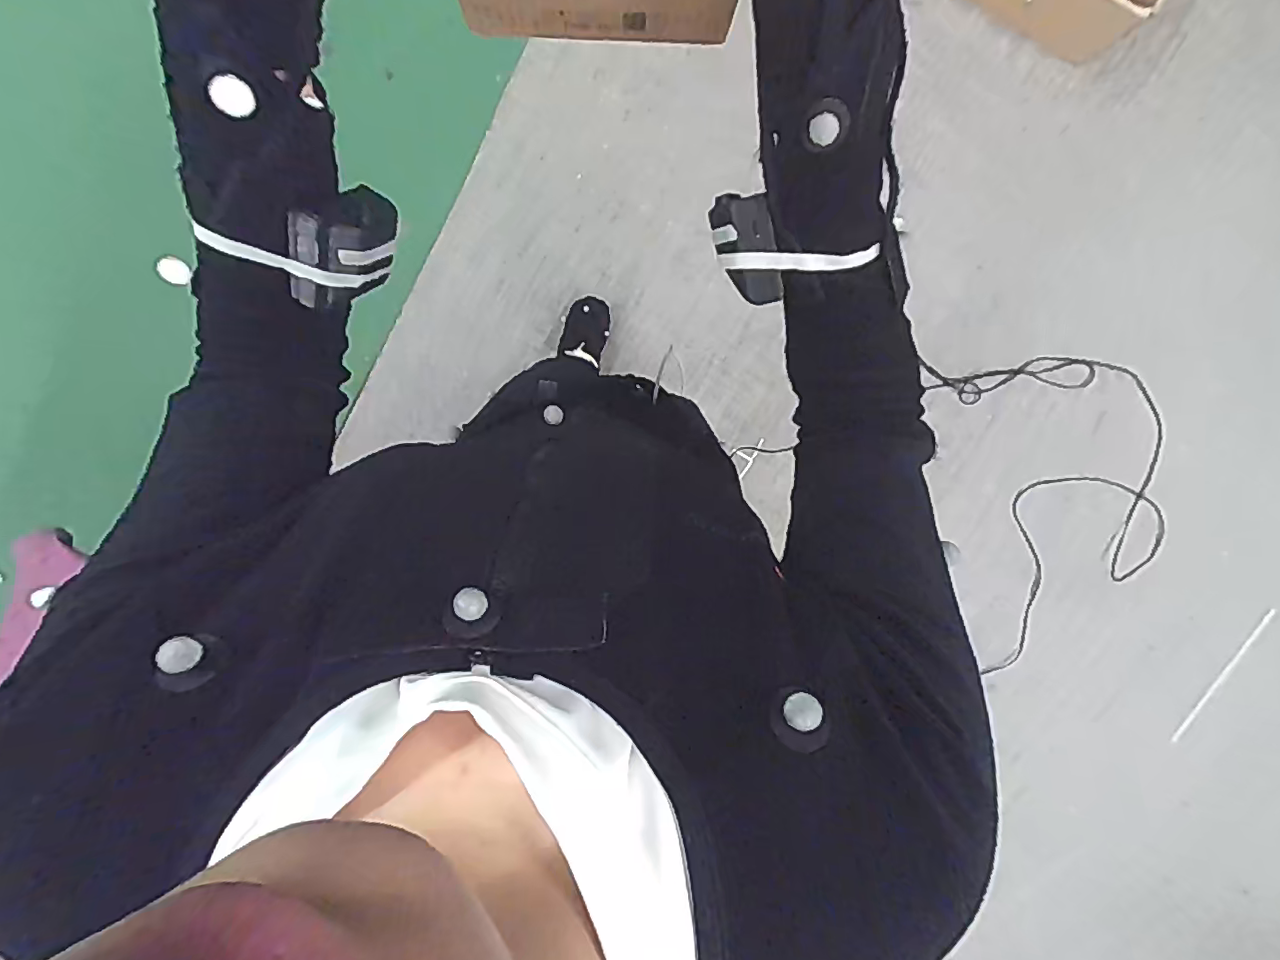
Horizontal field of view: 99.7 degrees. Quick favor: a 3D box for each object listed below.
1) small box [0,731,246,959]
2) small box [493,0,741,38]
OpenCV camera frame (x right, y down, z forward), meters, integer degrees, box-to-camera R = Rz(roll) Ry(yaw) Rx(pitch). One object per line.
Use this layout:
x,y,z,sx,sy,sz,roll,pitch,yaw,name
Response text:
-0.684,0.482,0.726,0.168,0.176,0.179,35,97,-4,small box
-0.015,-0.353,0.252,0.168,0.176,0.179,2,99,-2,small box
